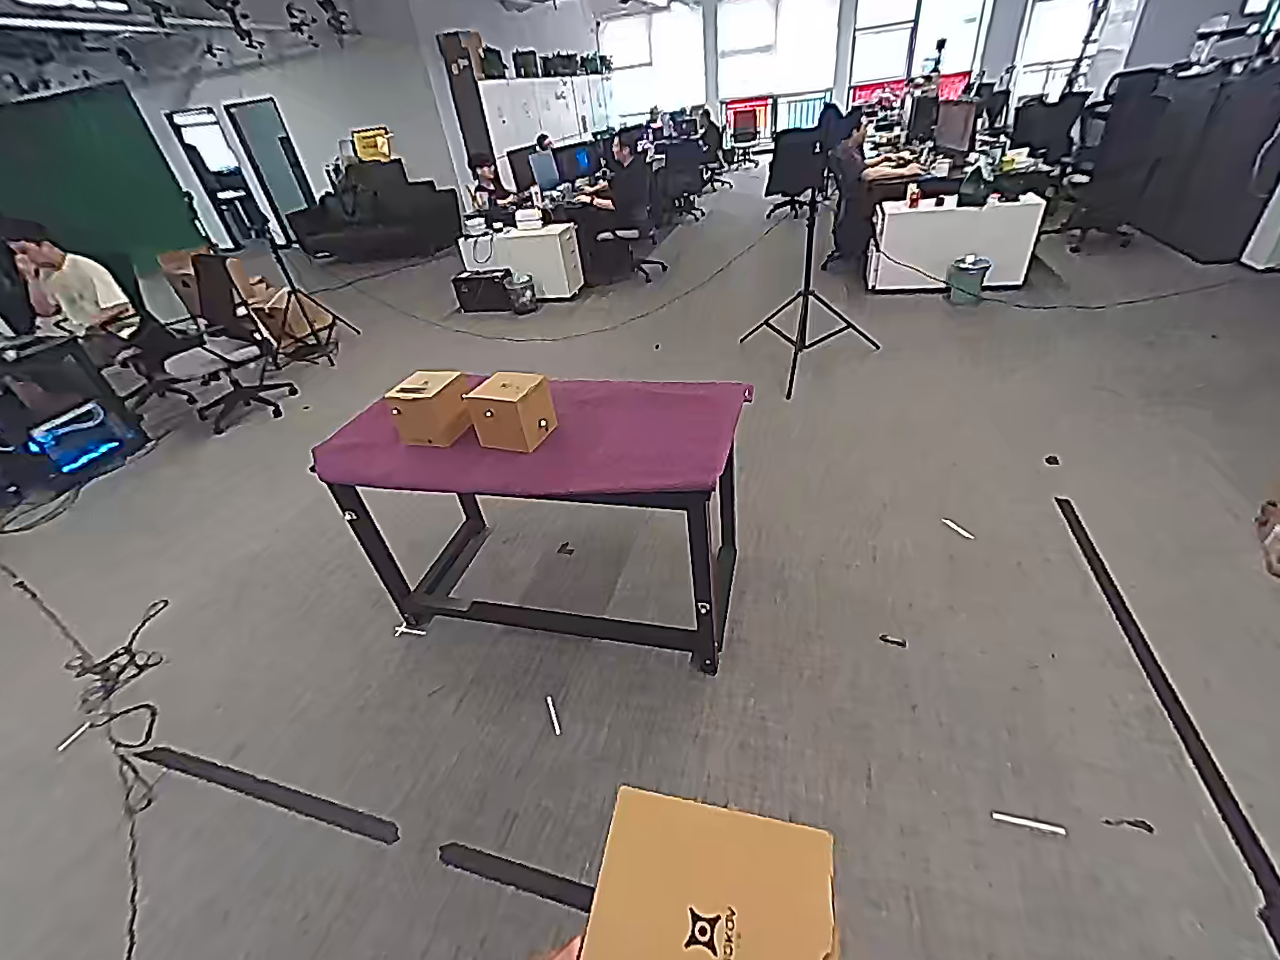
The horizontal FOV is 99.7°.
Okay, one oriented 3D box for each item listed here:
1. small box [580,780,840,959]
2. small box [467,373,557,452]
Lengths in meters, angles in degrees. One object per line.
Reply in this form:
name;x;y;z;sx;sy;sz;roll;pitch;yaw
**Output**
small box;0.057;0.376;0.434;0.179;0.176;0.168;6;41;12
small box;-0.369;-0.198;1.586;0.179;0.176;0.168;9;39;22
